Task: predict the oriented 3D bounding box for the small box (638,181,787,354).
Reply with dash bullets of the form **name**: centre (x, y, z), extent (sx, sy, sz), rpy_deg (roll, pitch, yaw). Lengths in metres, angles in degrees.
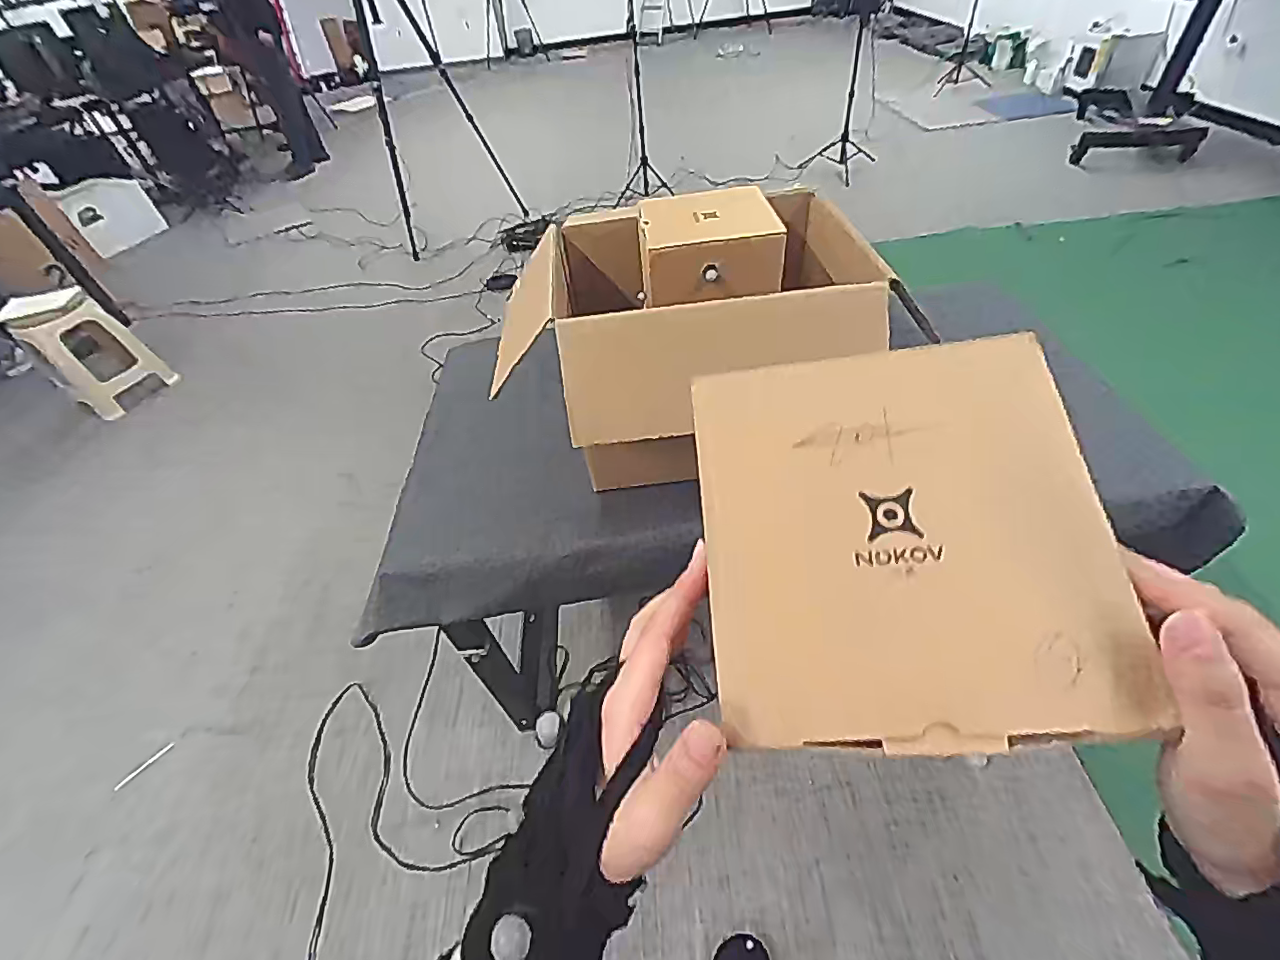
- **small box**: centre (0.094, -0.299, 0.769), extent (0.179, 0.176, 0.168), rpy_deg (-7, 47, 0)
